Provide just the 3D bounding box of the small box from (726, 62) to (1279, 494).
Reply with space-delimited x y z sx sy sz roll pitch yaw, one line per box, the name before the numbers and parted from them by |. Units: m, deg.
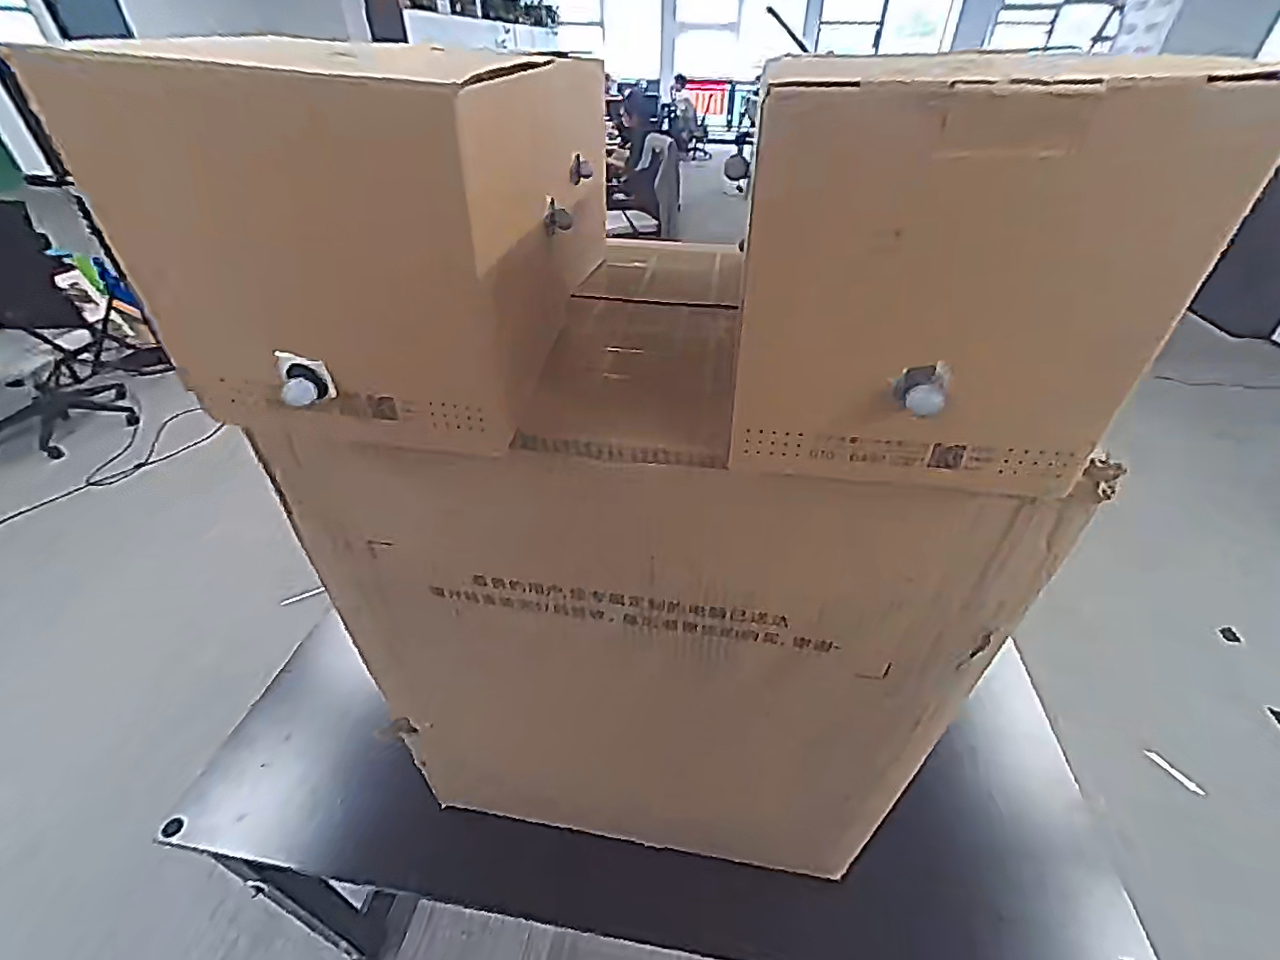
small box | 0.137 -0.116 0.294 0.168 0.176 0.179 5 41 9
